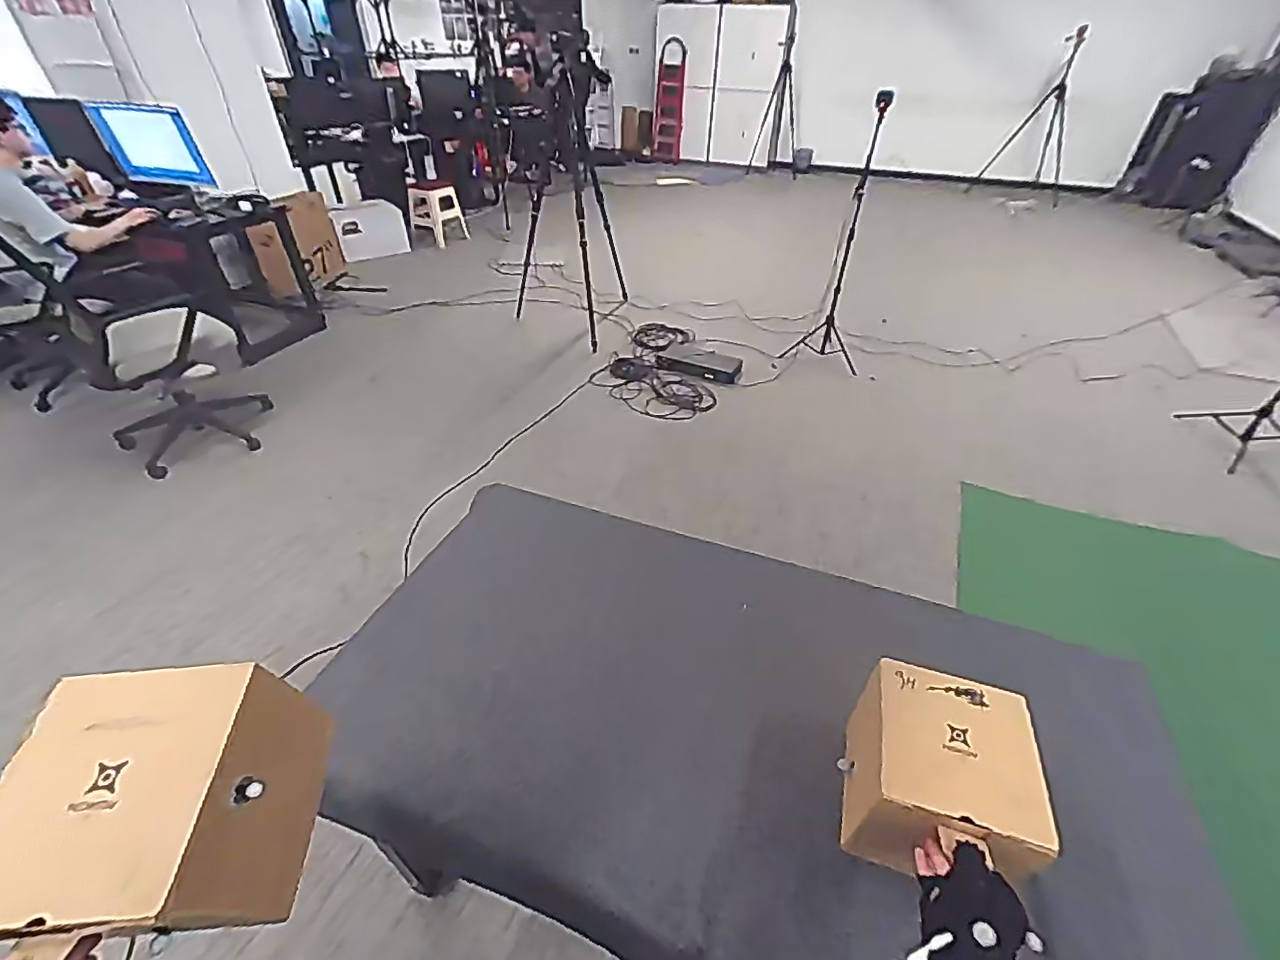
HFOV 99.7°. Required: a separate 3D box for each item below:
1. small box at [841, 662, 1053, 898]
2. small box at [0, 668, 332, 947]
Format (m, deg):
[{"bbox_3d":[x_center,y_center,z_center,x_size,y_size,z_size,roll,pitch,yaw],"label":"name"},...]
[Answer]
[{"bbox_3d":[0.349,0.360,0.652,0.168,0.176,0.179,14,41,14],"label":"small box"},{"bbox_3d":[-0.399,0.281,0.464,0.168,0.176,0.179,-3,50,-2],"label":"small box"}]
